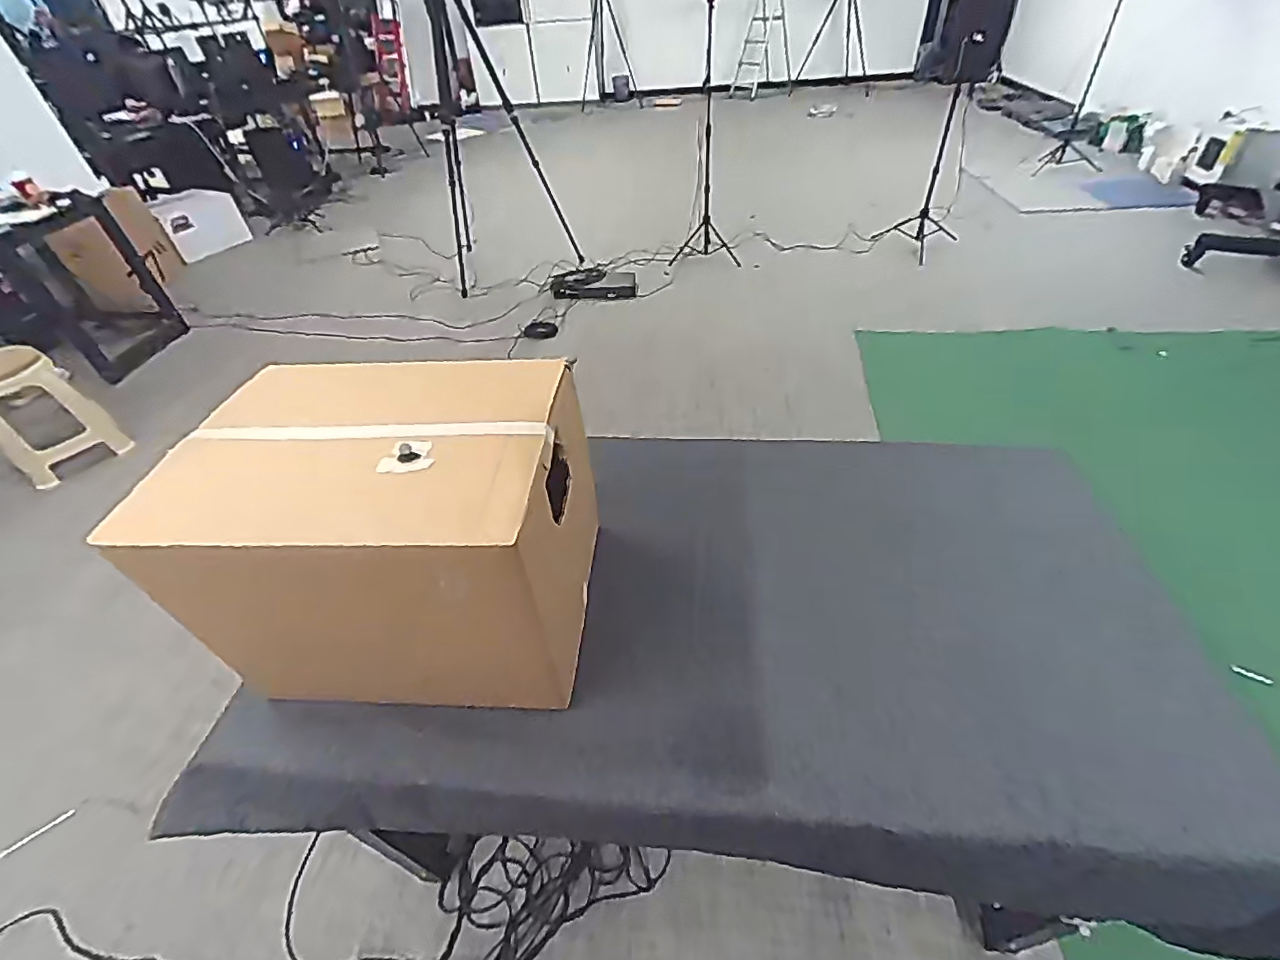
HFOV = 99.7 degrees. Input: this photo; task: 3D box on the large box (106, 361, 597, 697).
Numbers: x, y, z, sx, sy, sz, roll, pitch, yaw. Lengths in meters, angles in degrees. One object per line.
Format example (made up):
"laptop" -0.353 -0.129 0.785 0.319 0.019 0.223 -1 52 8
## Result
"large box" -0.280 0.060 0.690 0.408 0.320 0.320 0 43 3
